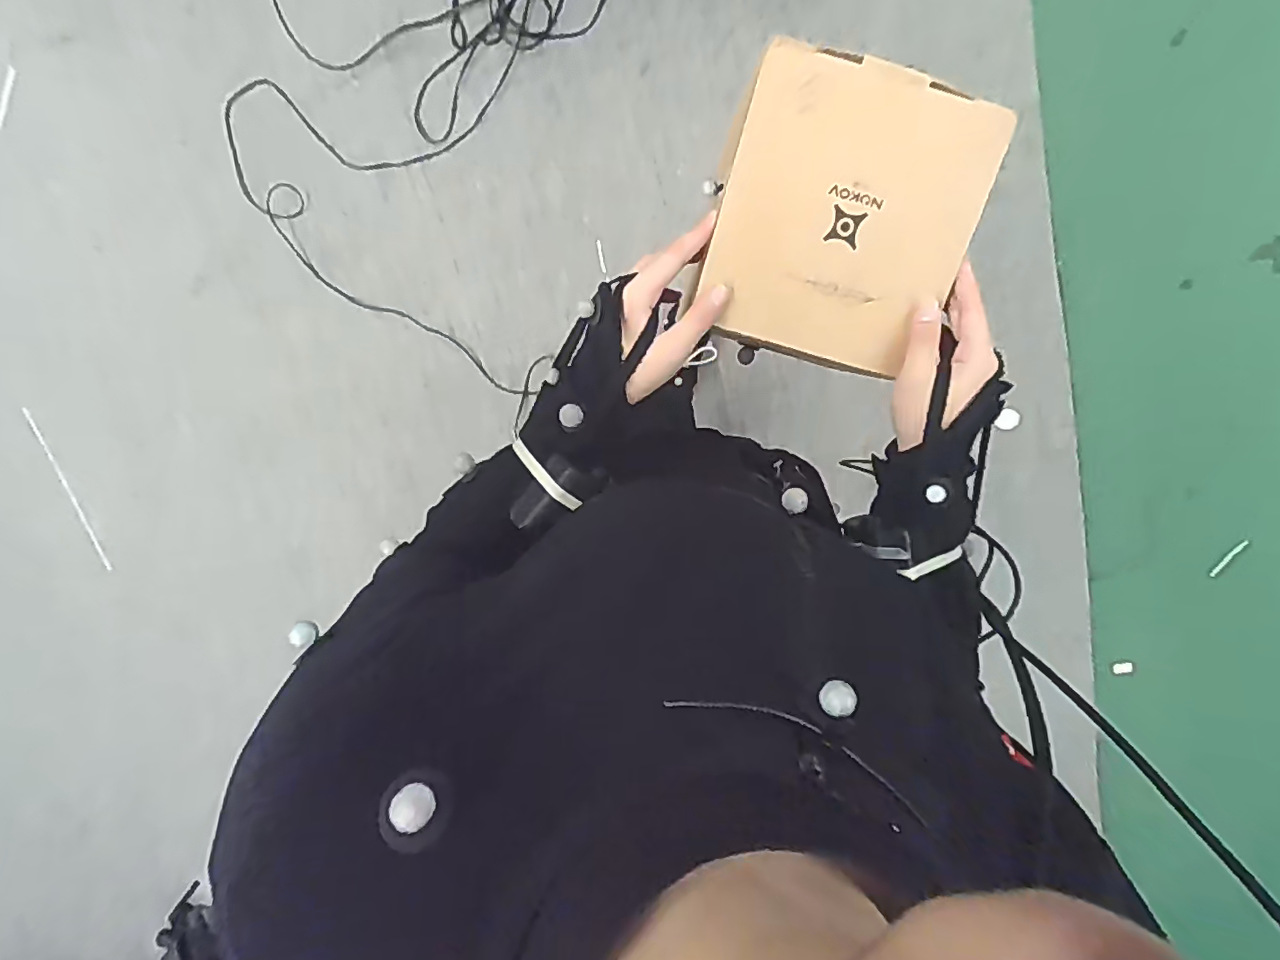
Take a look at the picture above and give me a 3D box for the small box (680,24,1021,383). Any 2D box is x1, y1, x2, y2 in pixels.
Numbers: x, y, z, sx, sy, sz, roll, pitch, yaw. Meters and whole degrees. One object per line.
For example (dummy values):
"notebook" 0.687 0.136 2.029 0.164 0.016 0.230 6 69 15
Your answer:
"small box" 0.133 -0.189 0.422 0.168 0.176 0.179 15 105 -3
